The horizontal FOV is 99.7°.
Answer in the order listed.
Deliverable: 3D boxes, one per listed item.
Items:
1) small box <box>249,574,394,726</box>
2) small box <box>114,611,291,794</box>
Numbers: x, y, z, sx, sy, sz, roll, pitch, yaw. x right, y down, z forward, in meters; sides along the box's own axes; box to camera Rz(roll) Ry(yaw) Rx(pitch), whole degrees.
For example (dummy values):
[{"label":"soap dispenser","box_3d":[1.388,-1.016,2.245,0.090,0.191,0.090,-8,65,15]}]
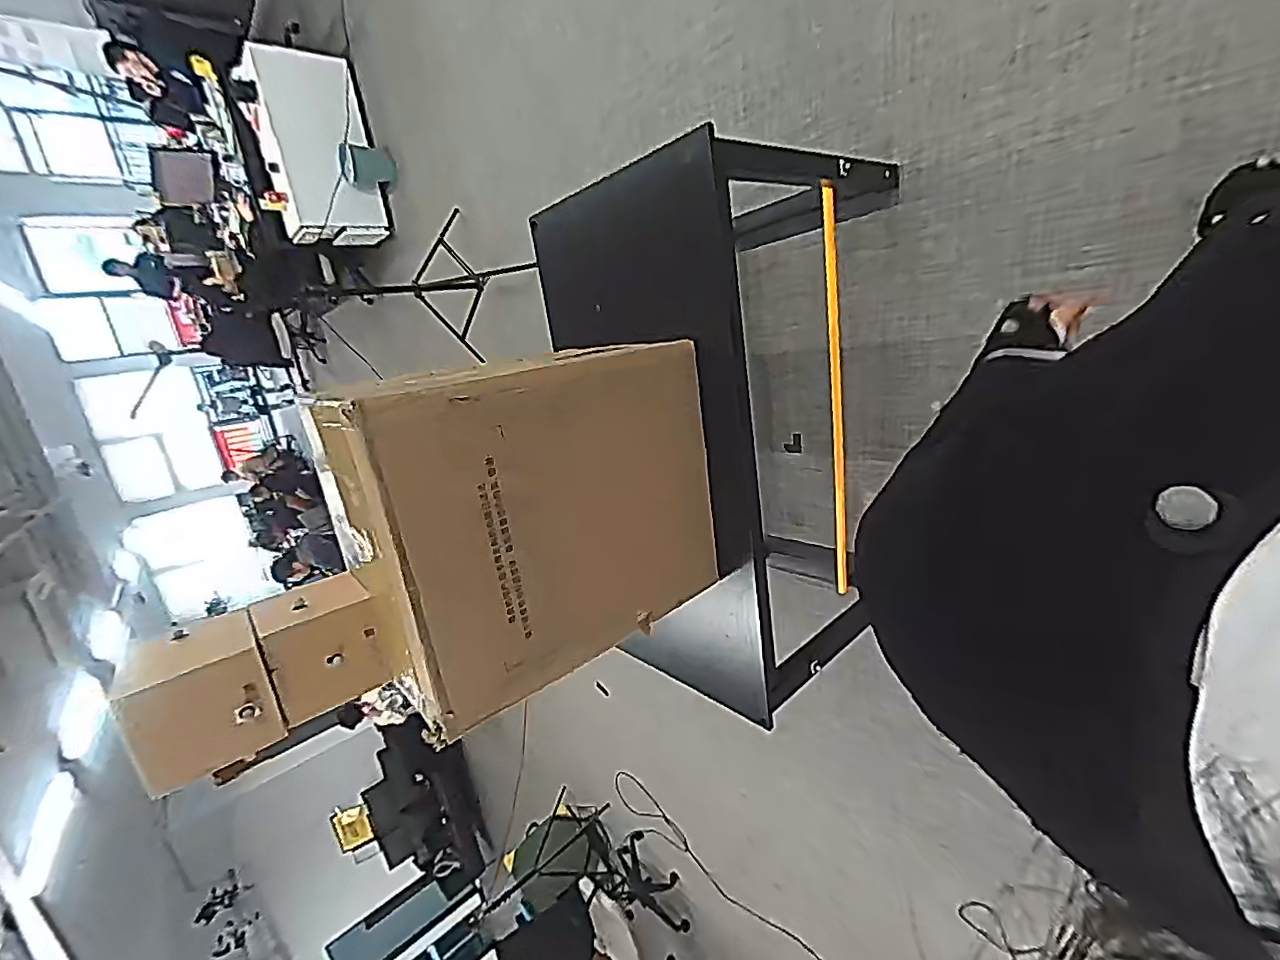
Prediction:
[{"label":"small box","box_3d":[-0.548,0.280,0.943,0.179,0.176,0.168,10,113,49]},{"label":"small box","box_3d":[-0.662,0.324,0.833,0.179,0.176,0.168,13,117,48]}]
